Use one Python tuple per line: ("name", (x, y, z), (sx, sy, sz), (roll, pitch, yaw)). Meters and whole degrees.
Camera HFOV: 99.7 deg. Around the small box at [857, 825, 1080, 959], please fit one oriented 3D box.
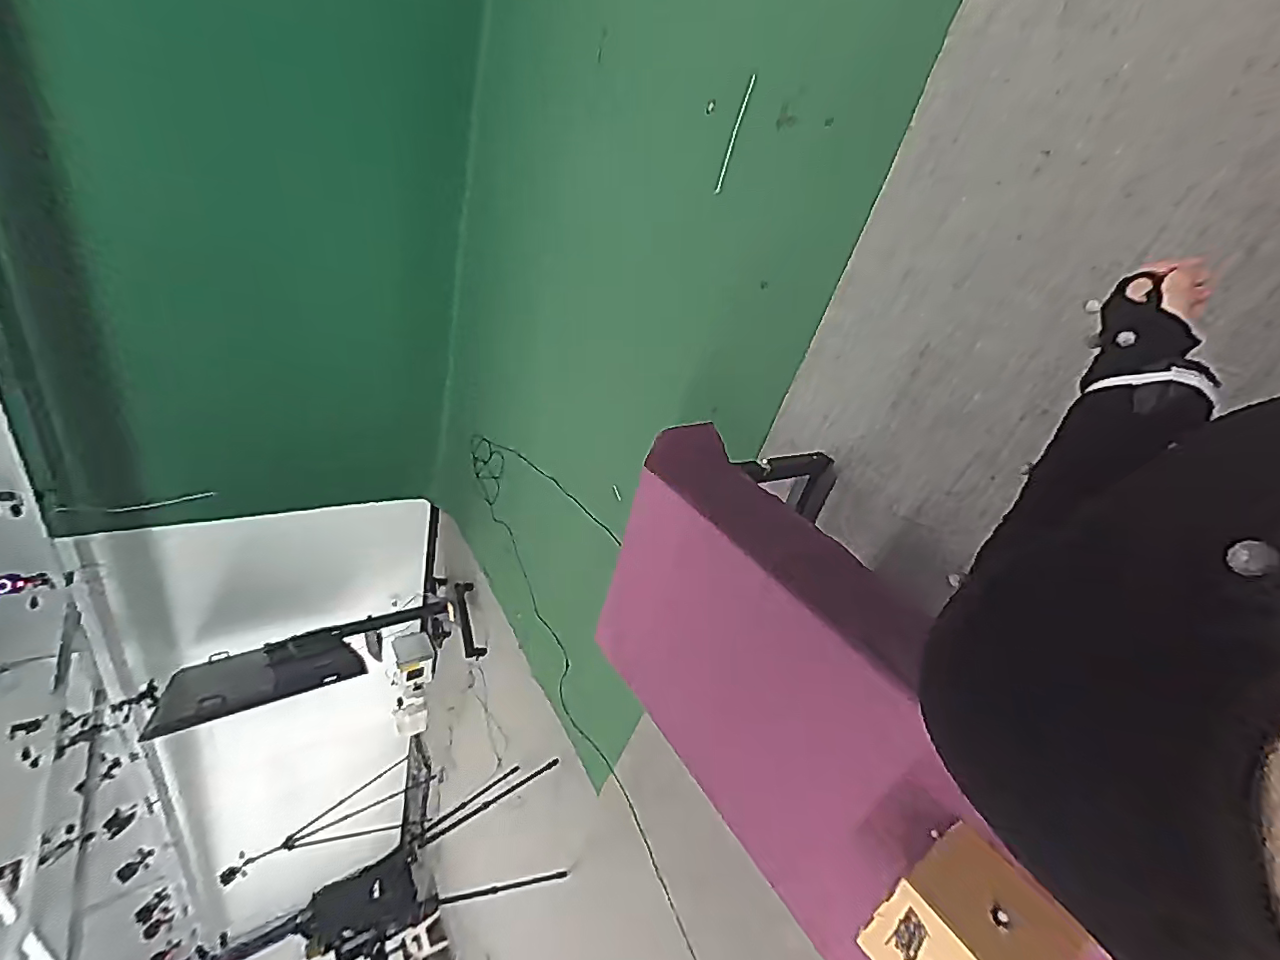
("small box", (0.444, 0.615, 0.739), (0.179, 0.176, 0.168), (40, 126, 41))
